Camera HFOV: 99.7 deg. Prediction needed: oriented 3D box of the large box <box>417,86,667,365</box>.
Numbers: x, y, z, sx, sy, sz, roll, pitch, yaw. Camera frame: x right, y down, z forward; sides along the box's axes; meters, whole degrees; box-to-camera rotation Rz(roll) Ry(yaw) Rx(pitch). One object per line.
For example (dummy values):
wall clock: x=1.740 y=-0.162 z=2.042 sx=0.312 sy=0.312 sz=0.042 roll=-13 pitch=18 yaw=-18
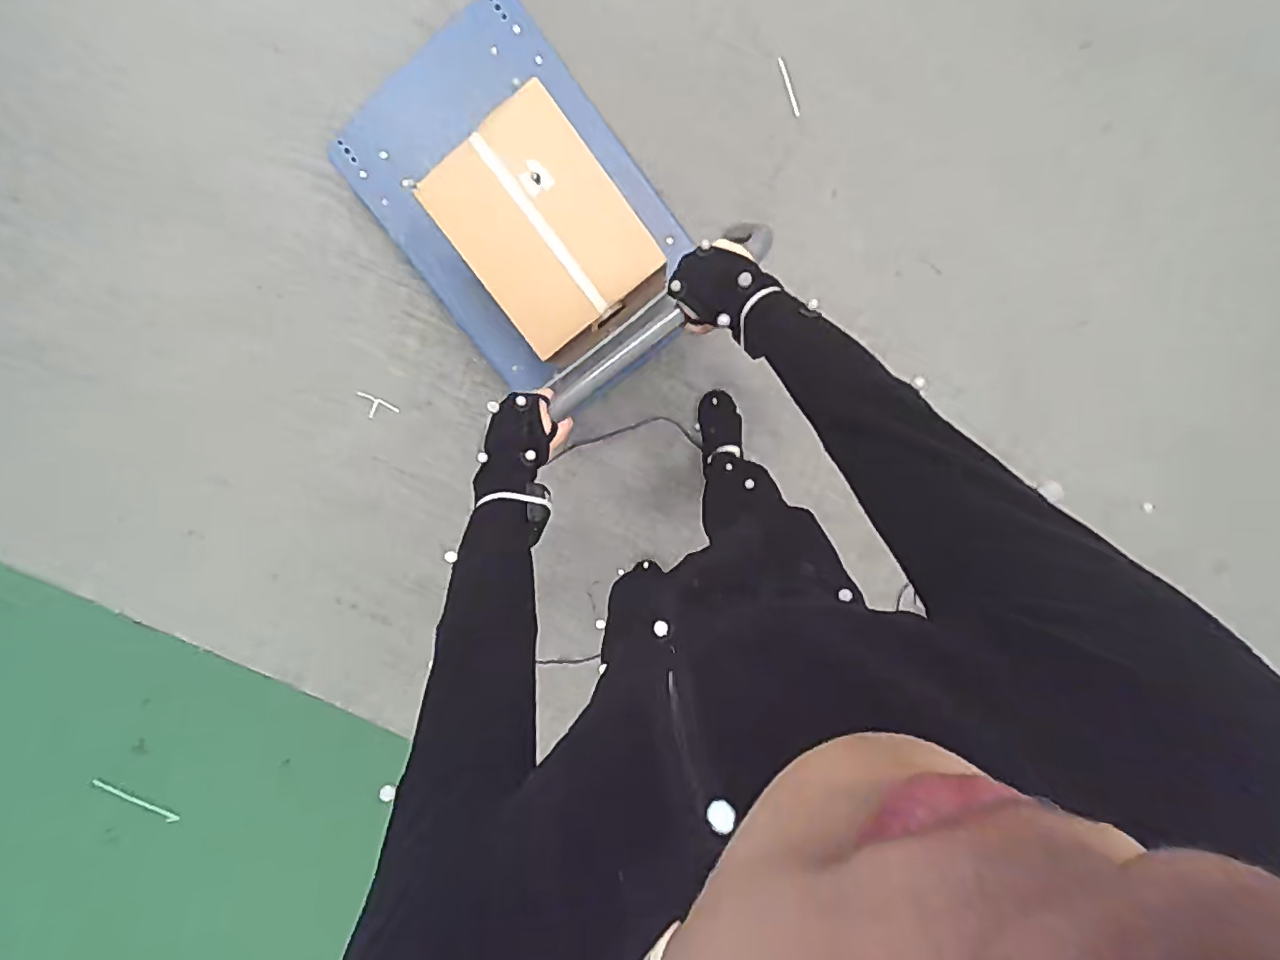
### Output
large box: x=-0.178 y=-0.504 z=1.174 sx=0.320 sy=0.320 sz=0.408 roll=-37 pitch=96 yaw=7
